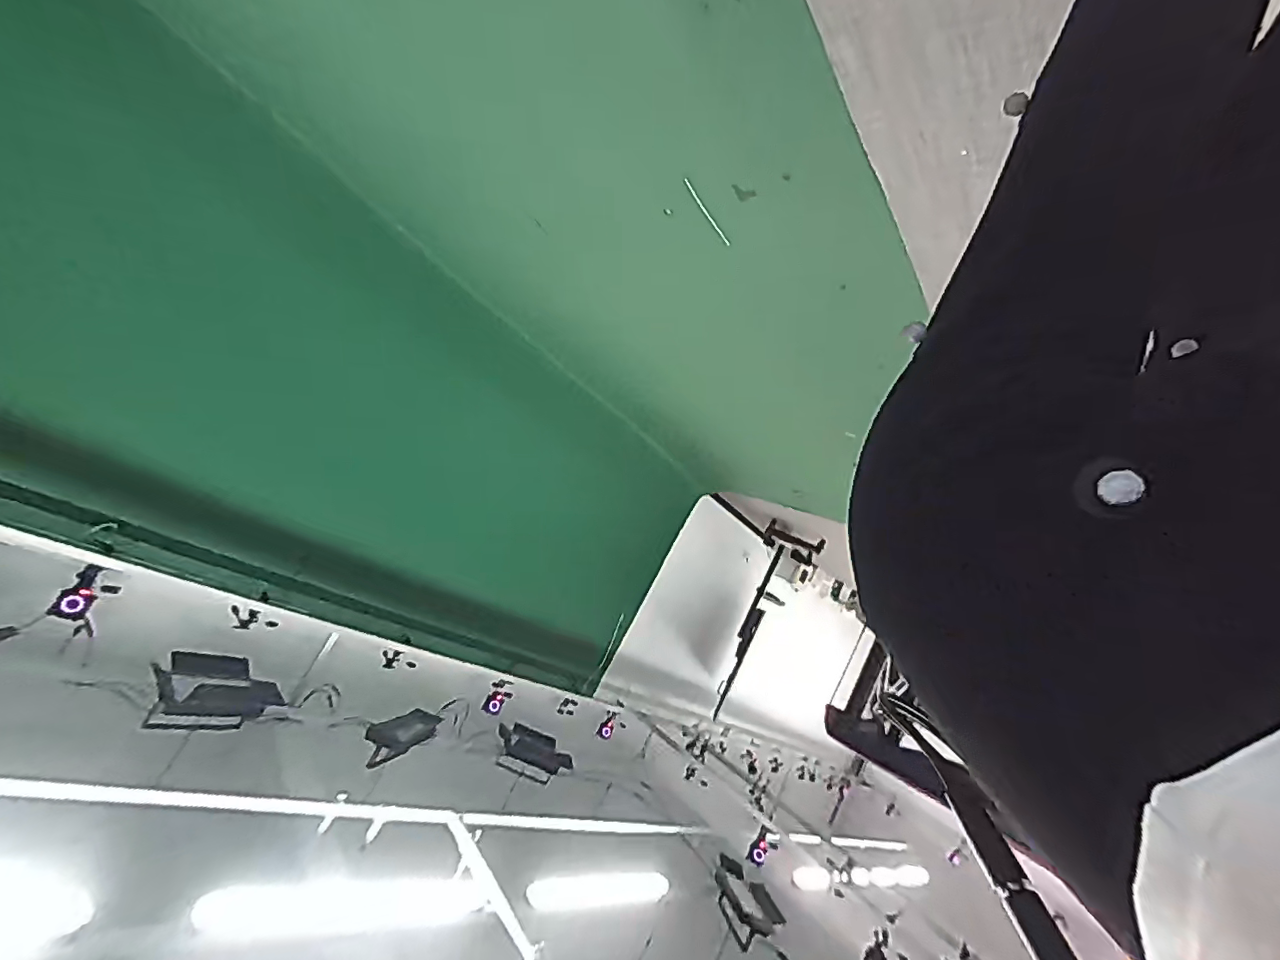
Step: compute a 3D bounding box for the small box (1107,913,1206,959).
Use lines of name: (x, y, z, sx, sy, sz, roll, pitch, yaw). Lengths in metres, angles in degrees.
small box: (1.382, 1.300, 1.437, 0.168, 0.176, 0.179, 34, 171, -37)
